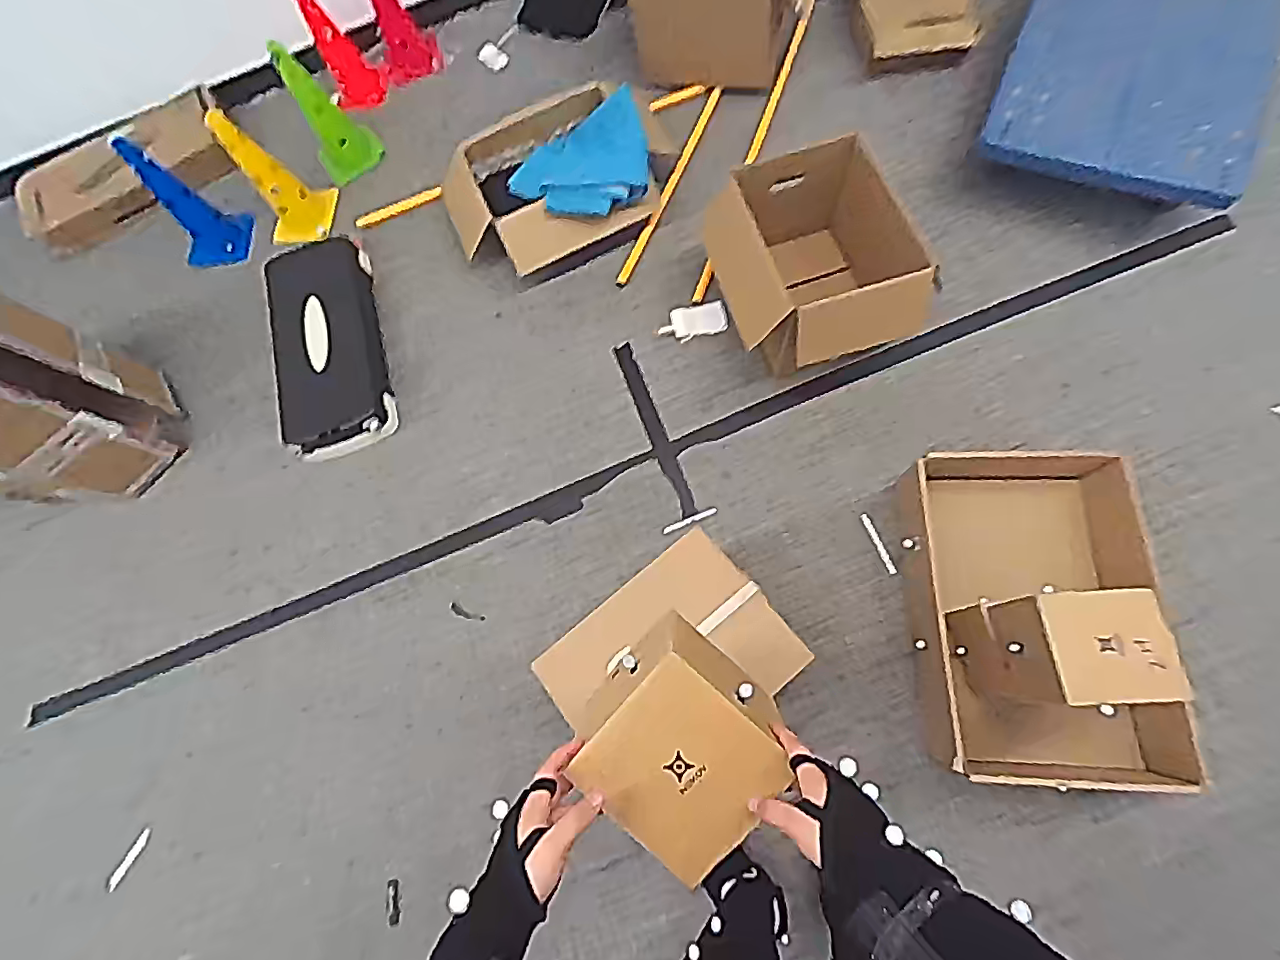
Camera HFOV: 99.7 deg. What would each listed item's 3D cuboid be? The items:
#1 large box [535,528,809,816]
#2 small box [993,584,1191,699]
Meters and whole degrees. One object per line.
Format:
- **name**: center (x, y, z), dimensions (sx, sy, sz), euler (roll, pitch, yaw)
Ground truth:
- **large box**: center (0.070, 0.363, 1.097), dimensions (0.408, 0.320, 0.320), euler (-40, 72, -6)
- **small box**: center (0.719, 0.271, 0.893), dimensions (0.179, 0.176, 0.168), euler (-5, 70, 5)
